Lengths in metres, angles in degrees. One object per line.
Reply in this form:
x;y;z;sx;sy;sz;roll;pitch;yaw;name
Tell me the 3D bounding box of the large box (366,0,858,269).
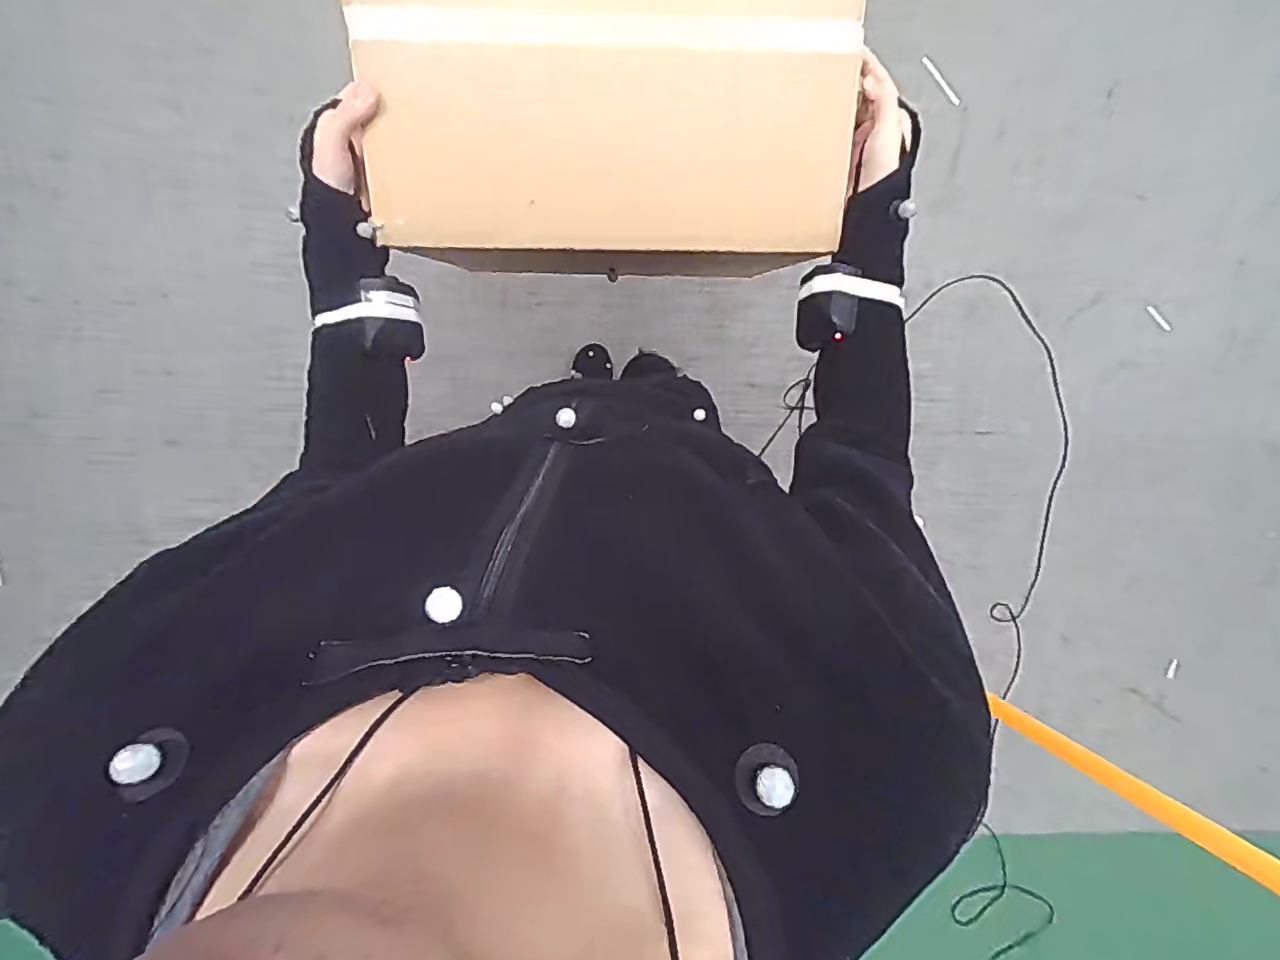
-0.024;-0.402;0.584;0.408;0.320;0.320;0;106;-2;large box
